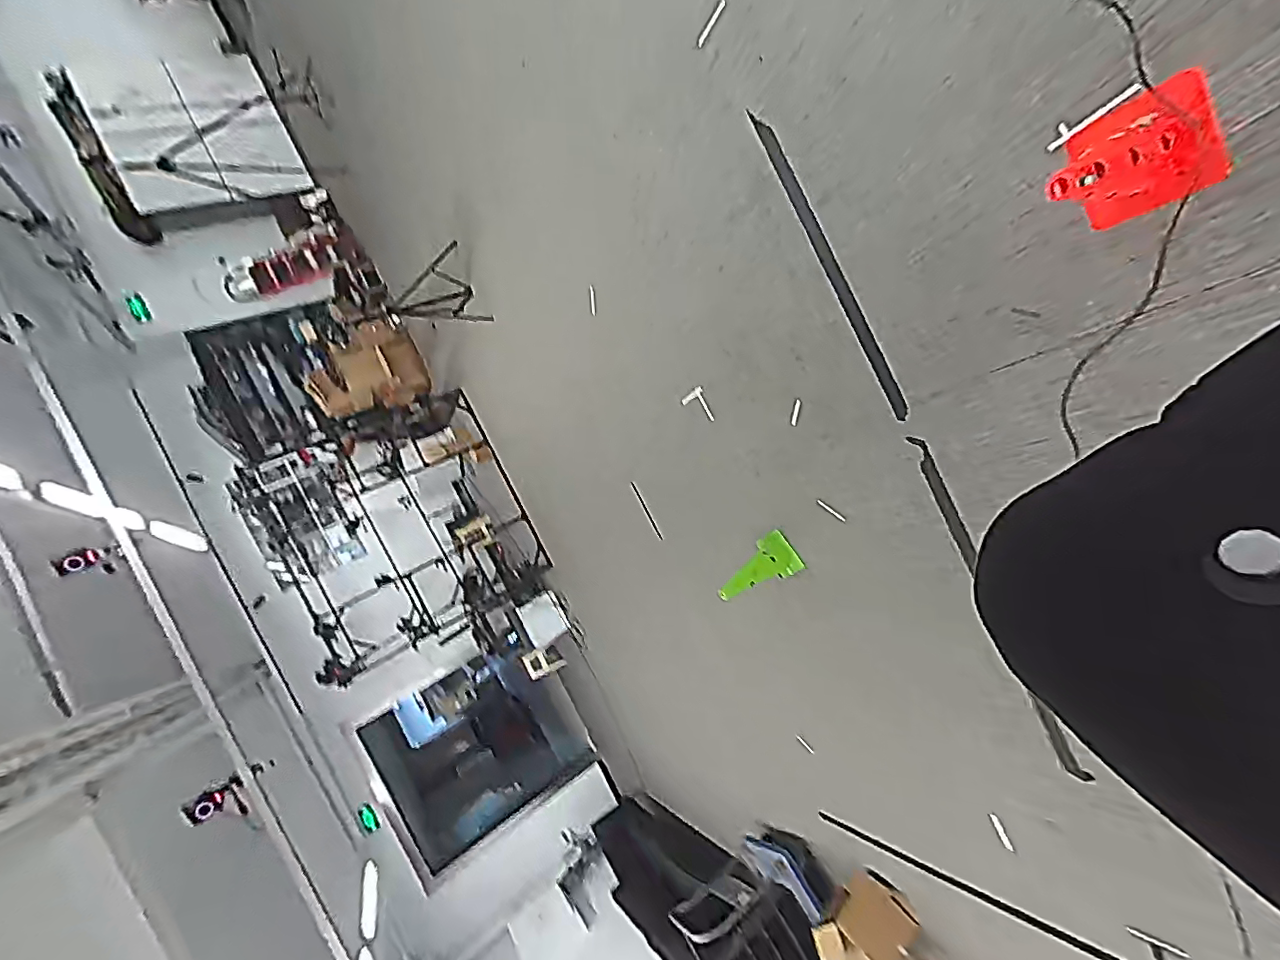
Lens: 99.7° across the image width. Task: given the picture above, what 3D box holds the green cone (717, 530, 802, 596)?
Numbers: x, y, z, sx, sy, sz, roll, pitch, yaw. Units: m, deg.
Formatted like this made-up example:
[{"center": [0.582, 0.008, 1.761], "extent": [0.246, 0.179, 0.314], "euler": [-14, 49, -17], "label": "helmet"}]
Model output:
[{"center": [0.476, 0.396, 2.299], "extent": [0.202, 0.368, 0.200], "euler": [57, 152, 14], "label": "green cone"}]

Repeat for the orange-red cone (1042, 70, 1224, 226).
[{"center": [0.789, -0.529, 0.921], "extent": [0.198, 0.360, 0.199], "euler": [-9, 108, 62], "label": "orange-red cone"}]
